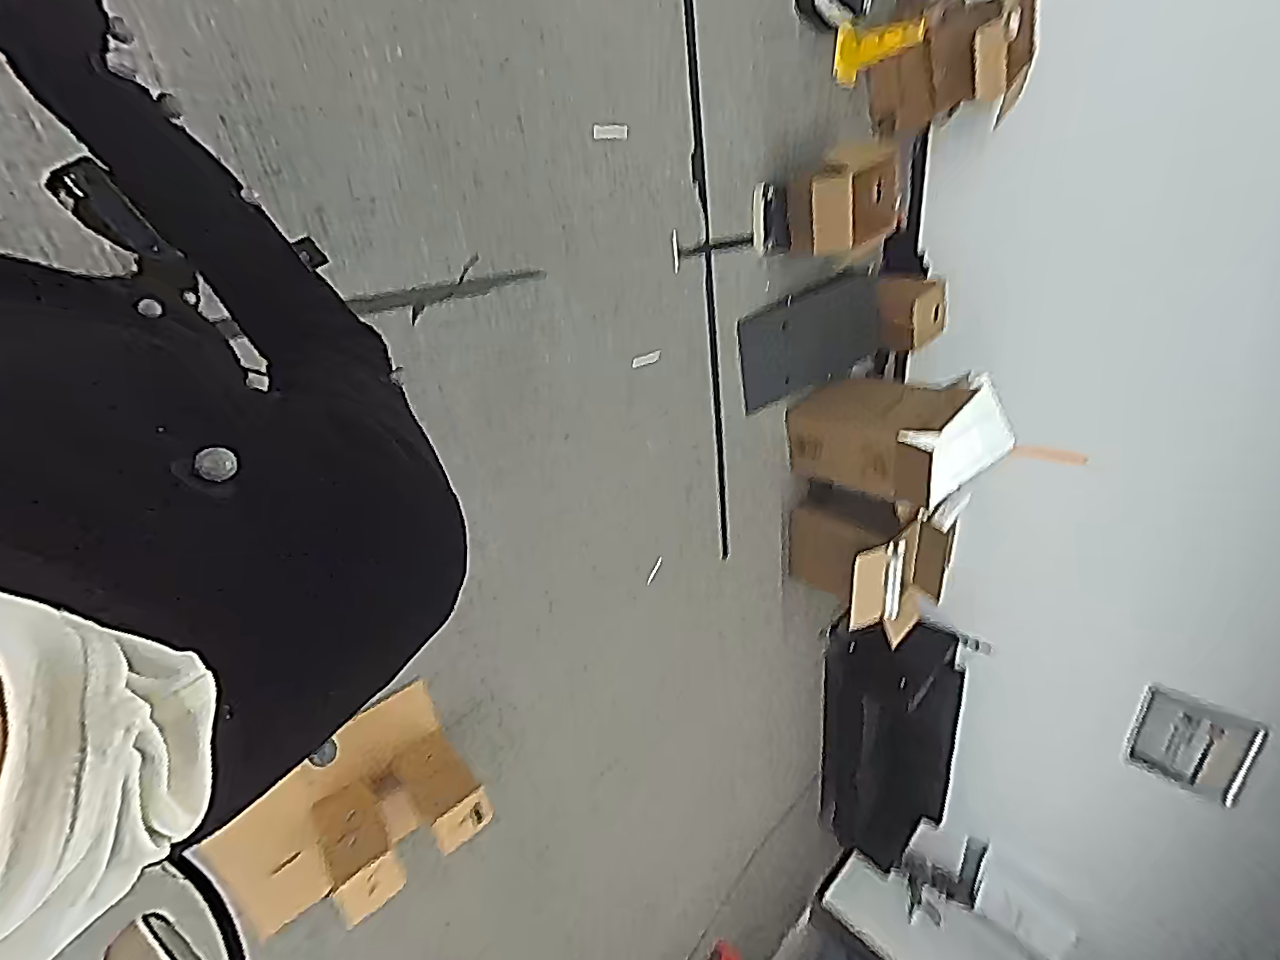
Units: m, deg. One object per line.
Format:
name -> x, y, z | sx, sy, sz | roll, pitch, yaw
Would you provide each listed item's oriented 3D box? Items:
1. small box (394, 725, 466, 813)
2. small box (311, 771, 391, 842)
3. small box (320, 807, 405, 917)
small box -> -0.750, 1.017, 1.917 | 0.179, 0.176, 0.168 | -27, 123, -37
small box -> -0.947, 1.102, 1.760 | 0.179, 0.176, 0.168 | -25, 121, -37
small box -> -0.842, 1.150, 1.642 | 0.168, 0.176, 0.179 | -24, 120, -37
